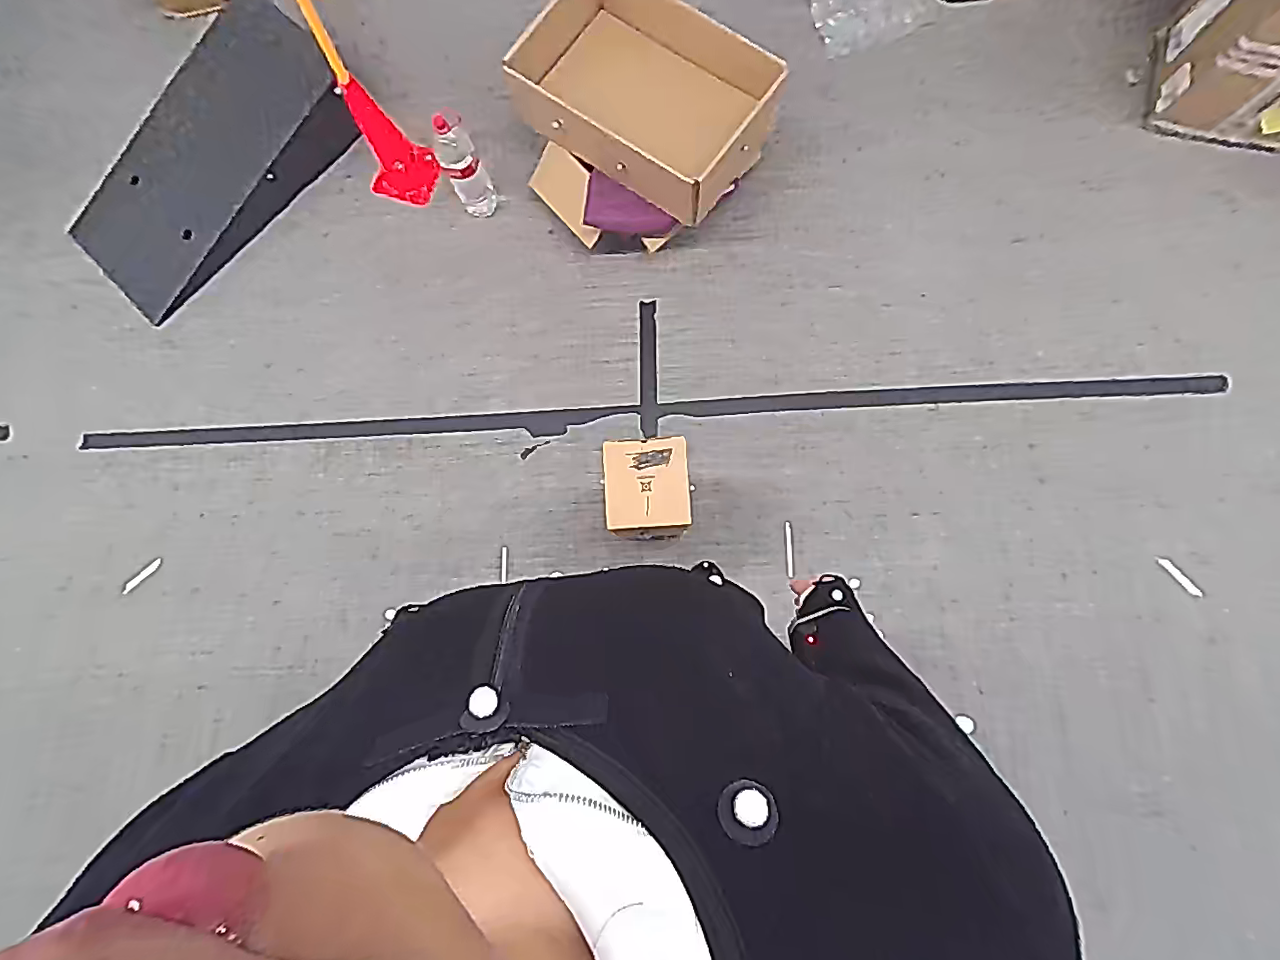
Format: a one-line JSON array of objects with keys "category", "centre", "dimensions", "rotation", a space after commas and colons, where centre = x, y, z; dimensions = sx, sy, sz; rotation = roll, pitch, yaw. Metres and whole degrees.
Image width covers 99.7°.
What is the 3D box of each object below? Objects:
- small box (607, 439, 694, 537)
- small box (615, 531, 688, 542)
[{"category": "small box", "centre": [0.022, 0.023, 1.127], "dimensions": [0.168, 0.176, 0.179], "rotation": [-4, 81, 3]}, {"category": "small box", "centre": [0.027, 0.050, 1.290], "dimensions": [0.168, 0.176, 0.179], "rotation": [-4, 79, 3]}]
